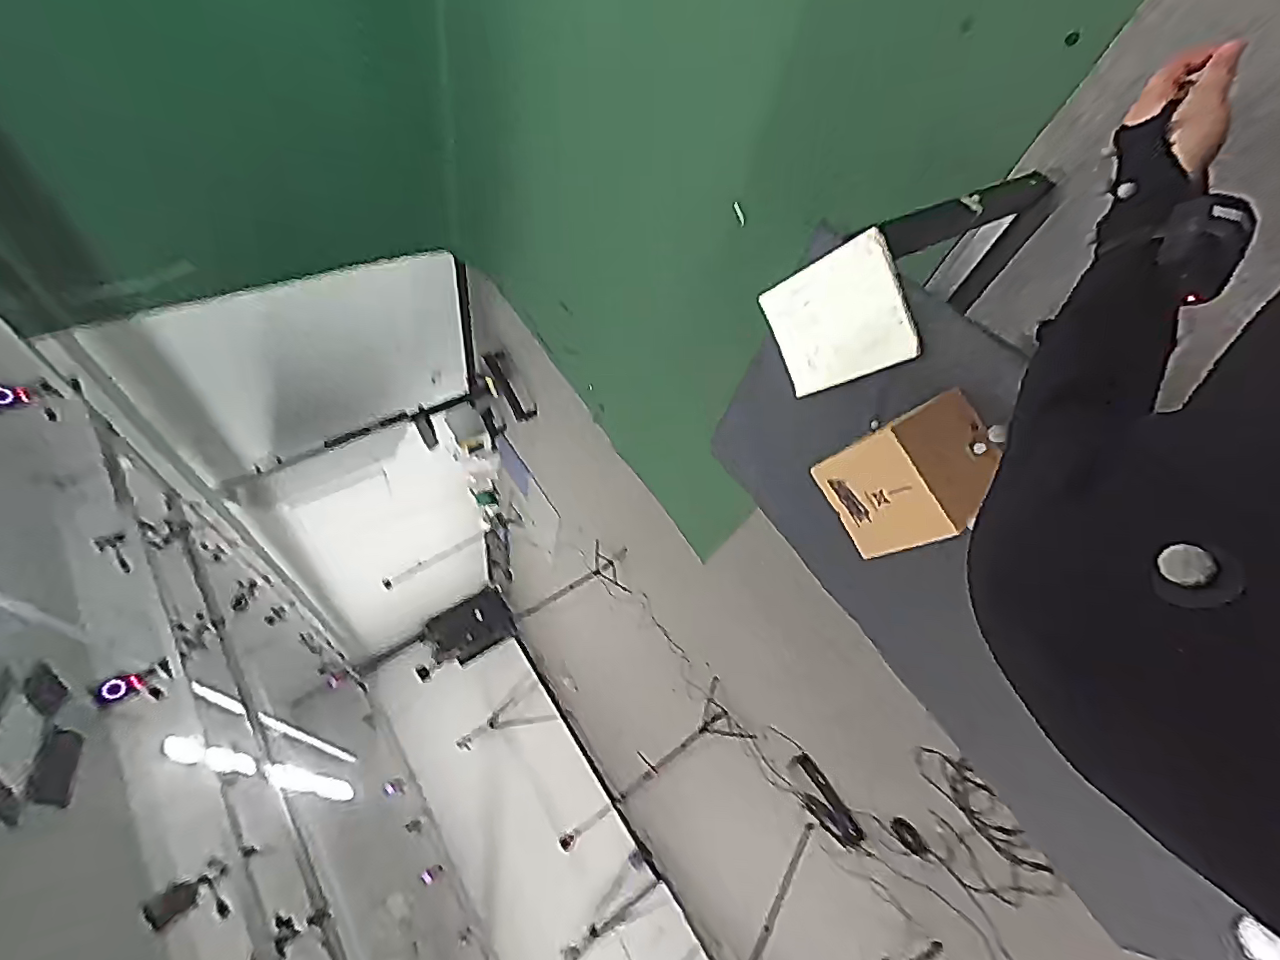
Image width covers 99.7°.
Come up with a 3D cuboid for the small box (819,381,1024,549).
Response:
[{"bbox_3d":[0.417,-0.020,0.810,0.168,0.176,0.179,59,153,6],"label":"small box"}]
